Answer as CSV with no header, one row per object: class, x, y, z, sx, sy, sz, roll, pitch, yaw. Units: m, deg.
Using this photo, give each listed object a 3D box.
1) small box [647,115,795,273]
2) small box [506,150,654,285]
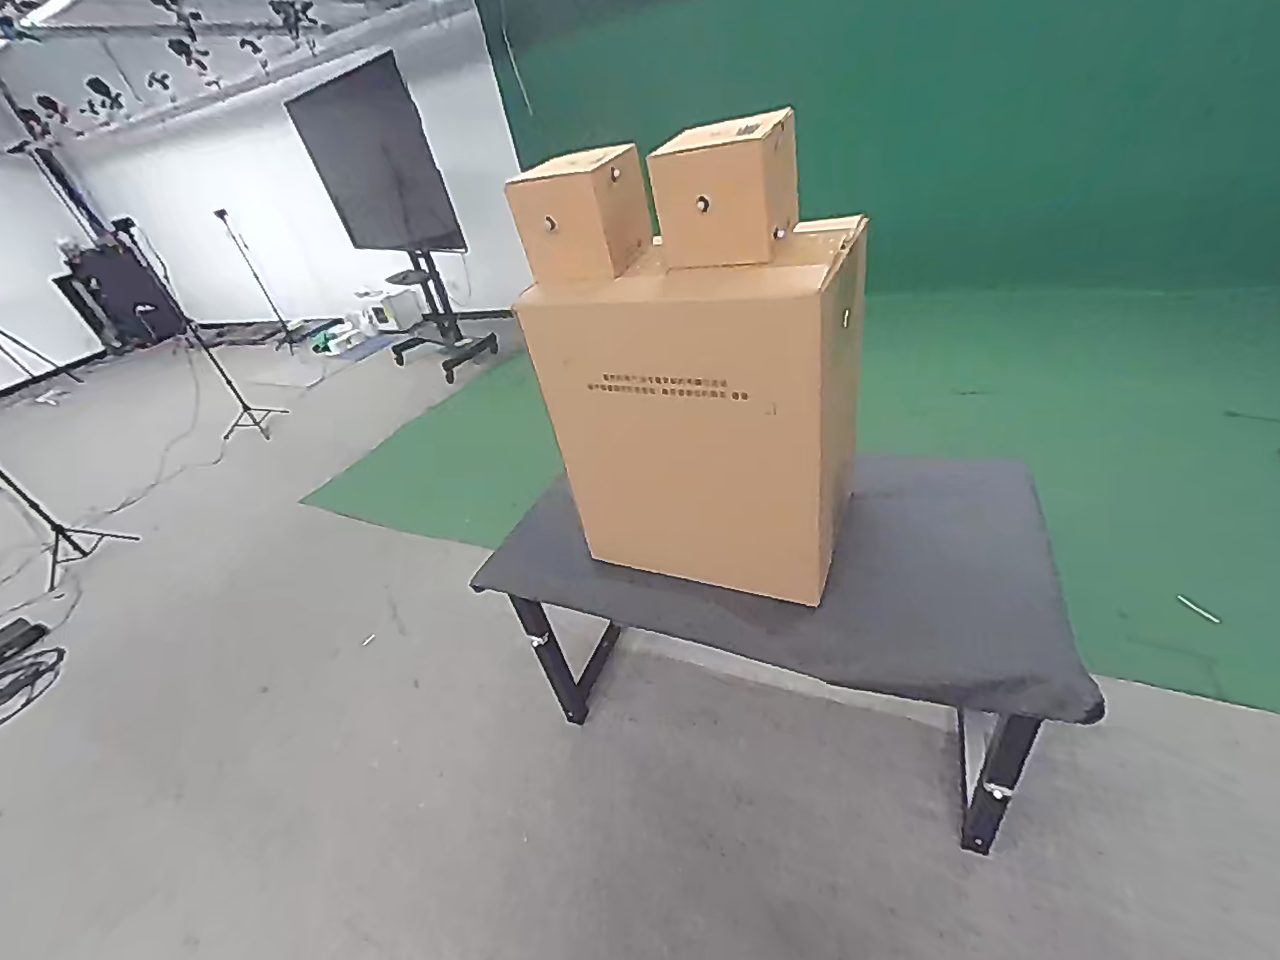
small box,0.137,-0.443,0.852,0.179,0.176,0.168,8,45,29
small box,-0.098,-0.457,0.957,0.179,0.176,0.168,8,44,28
